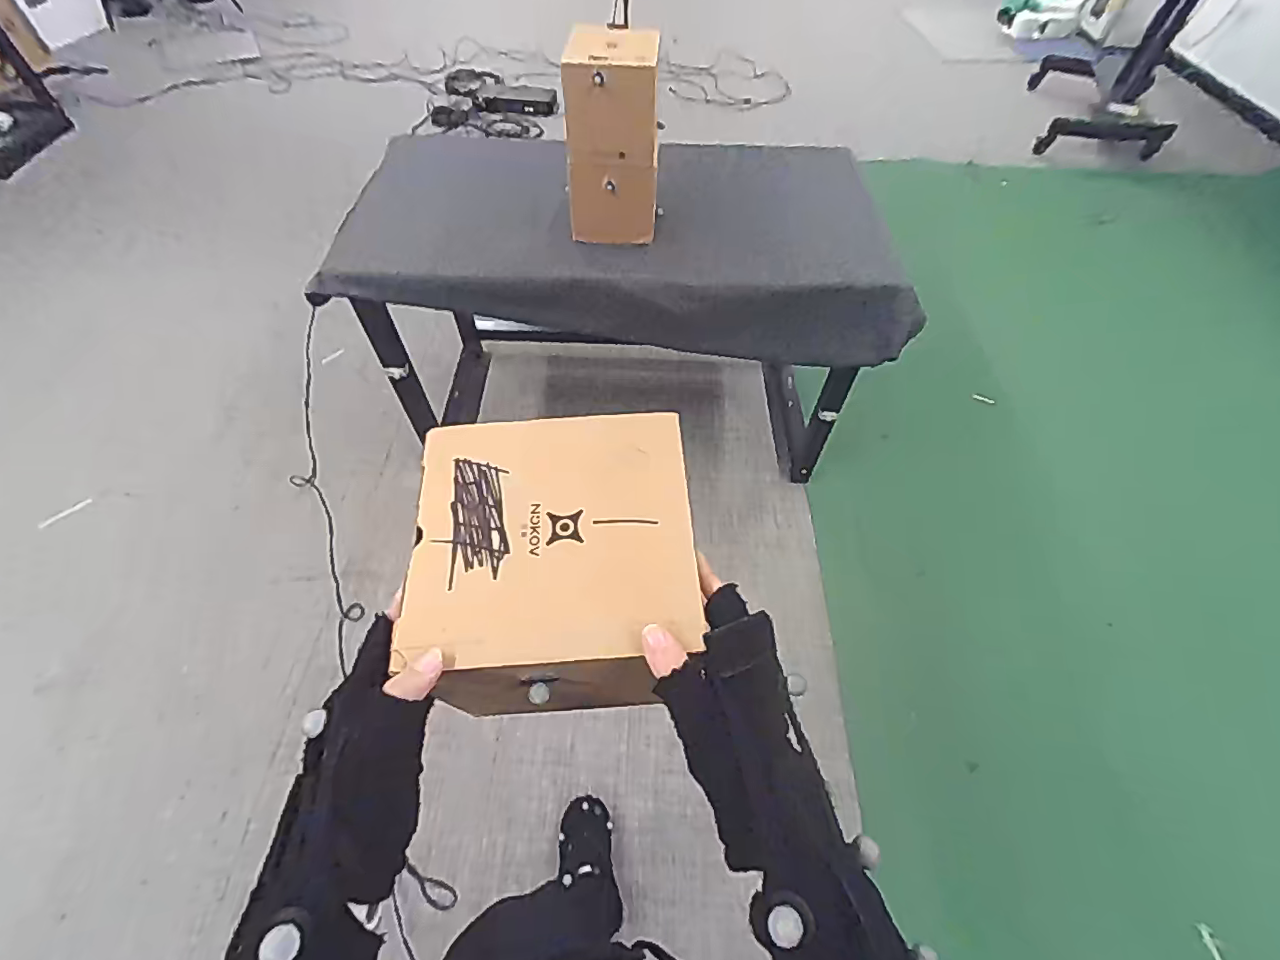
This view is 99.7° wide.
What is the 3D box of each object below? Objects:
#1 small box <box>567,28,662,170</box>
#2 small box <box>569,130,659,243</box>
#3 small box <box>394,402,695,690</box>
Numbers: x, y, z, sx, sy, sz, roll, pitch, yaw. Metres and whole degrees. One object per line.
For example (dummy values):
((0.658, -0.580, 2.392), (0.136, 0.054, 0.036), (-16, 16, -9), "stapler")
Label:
((-0.045, -0.725, 1.034), (0.168, 0.176, 0.179), (2, 57, -1), "small box")
((-0.051, -0.633, 1.165), (0.179, 0.176, 0.168), (3, 56, 0), "small box")
((-0.056, 0.059, 0.415), (0.179, 0.176, 0.168), (-3, 60, -1), "small box")
